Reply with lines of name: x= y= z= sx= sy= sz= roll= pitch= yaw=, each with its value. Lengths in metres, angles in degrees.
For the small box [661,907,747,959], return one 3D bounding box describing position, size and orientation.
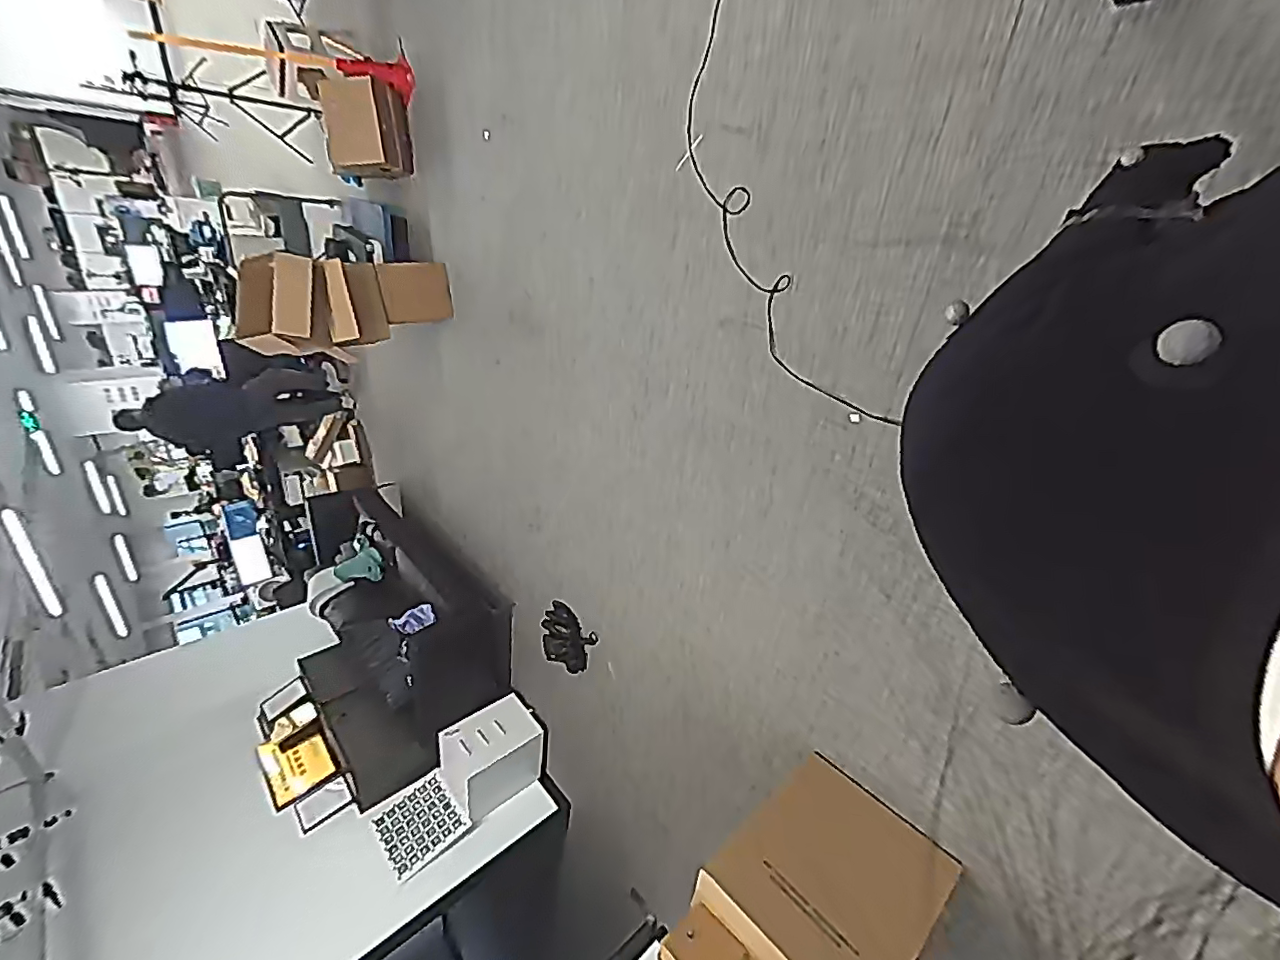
small box: x=0.176 y=1.361 z=1.522 sx=0.179 sy=0.176 sz=0.168 roll=19 pitch=115 yaw=43
